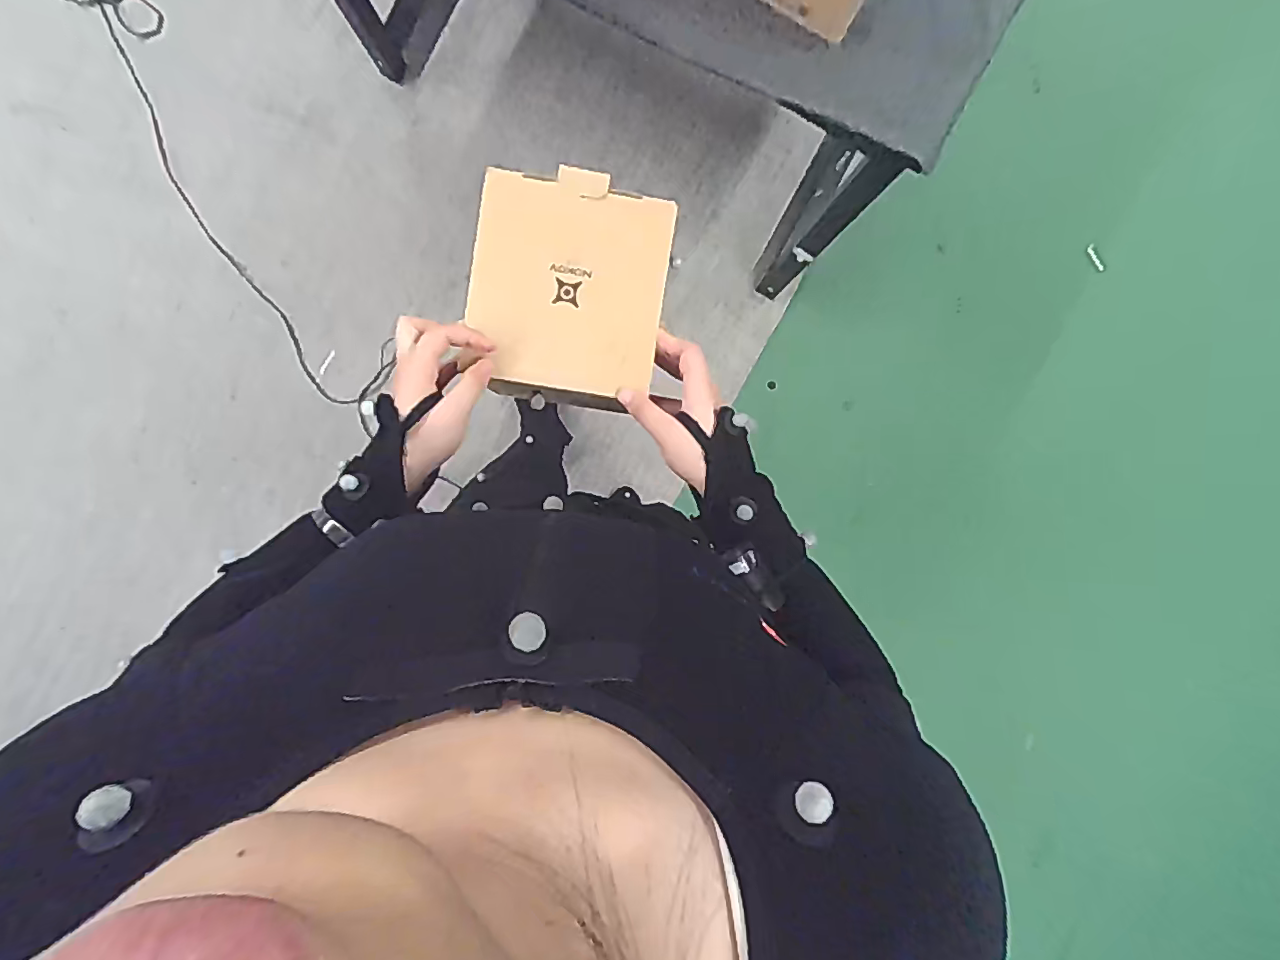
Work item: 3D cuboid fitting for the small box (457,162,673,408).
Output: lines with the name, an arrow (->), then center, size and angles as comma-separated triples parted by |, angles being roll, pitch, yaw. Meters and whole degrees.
small box -> -0.067, -0.172, 0.537 | 0.168, 0.176, 0.179 | 8, 91, -4

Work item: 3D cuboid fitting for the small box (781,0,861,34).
small box -> 0.233, -0.691, 0.632 | 0.168, 0.176, 0.179 | 29, 89, -3
